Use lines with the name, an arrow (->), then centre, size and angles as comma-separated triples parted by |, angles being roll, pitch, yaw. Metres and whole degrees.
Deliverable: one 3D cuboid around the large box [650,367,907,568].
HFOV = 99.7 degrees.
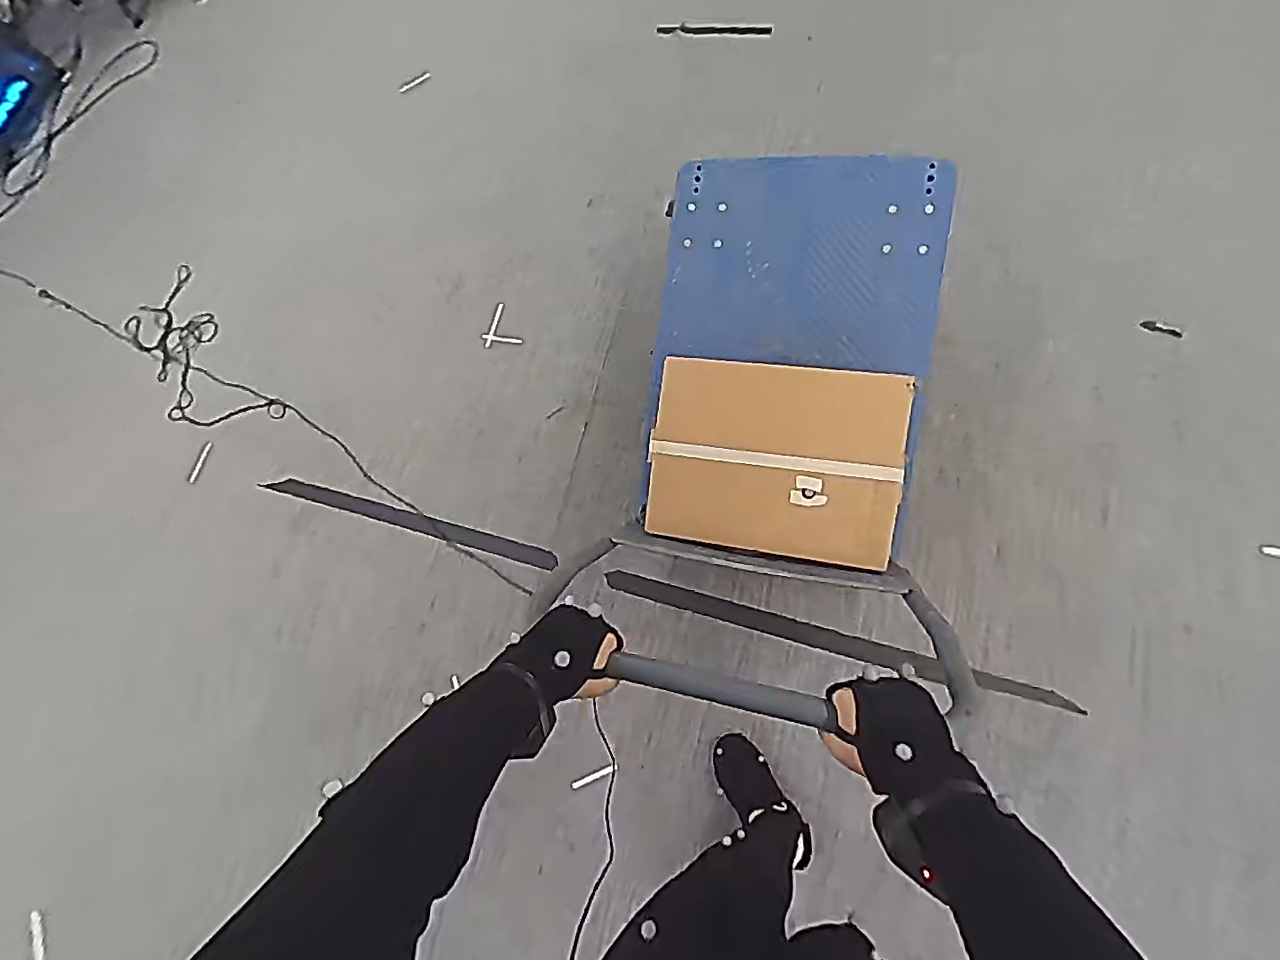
large box -> 0.256, -0.031, 1.062 | 0.408, 0.320, 0.320 | 7, 94, 14
